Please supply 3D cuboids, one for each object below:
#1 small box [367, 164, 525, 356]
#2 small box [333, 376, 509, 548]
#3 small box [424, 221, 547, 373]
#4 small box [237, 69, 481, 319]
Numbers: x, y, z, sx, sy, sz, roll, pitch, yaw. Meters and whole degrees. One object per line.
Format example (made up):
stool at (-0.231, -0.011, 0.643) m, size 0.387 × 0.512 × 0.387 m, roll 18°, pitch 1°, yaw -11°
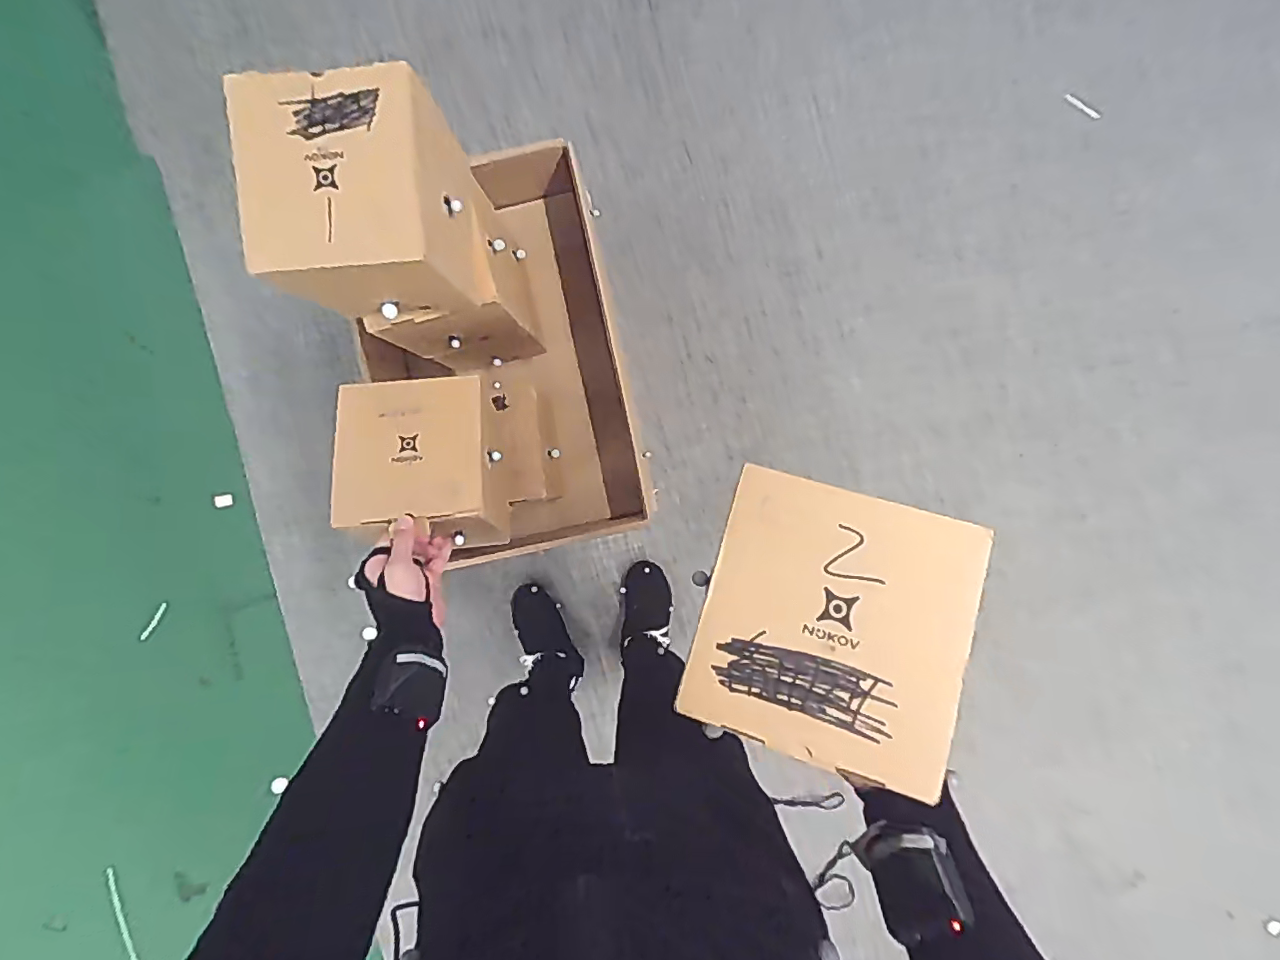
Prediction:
small box at (-0.268, -0.284, 0.736) m, size 0.168 × 0.176 × 0.179 m, roll -14°, pitch 92°, yaw 1°
small box at (-0.267, -0.012, 0.698) m, size 0.168 × 0.176 × 0.179 m, roll -5°, pitch 71°, yaw -4°
small box at (-0.264, -0.292, 0.897) m, size 0.168 × 0.176 × 0.179 m, roll -13°, pitch 92°, yaw 2°
small box at (-0.278, -0.283, 0.571) m, size 0.168 × 0.176 × 0.179 m, roll -4°, pitch 93°, yaw 2°
